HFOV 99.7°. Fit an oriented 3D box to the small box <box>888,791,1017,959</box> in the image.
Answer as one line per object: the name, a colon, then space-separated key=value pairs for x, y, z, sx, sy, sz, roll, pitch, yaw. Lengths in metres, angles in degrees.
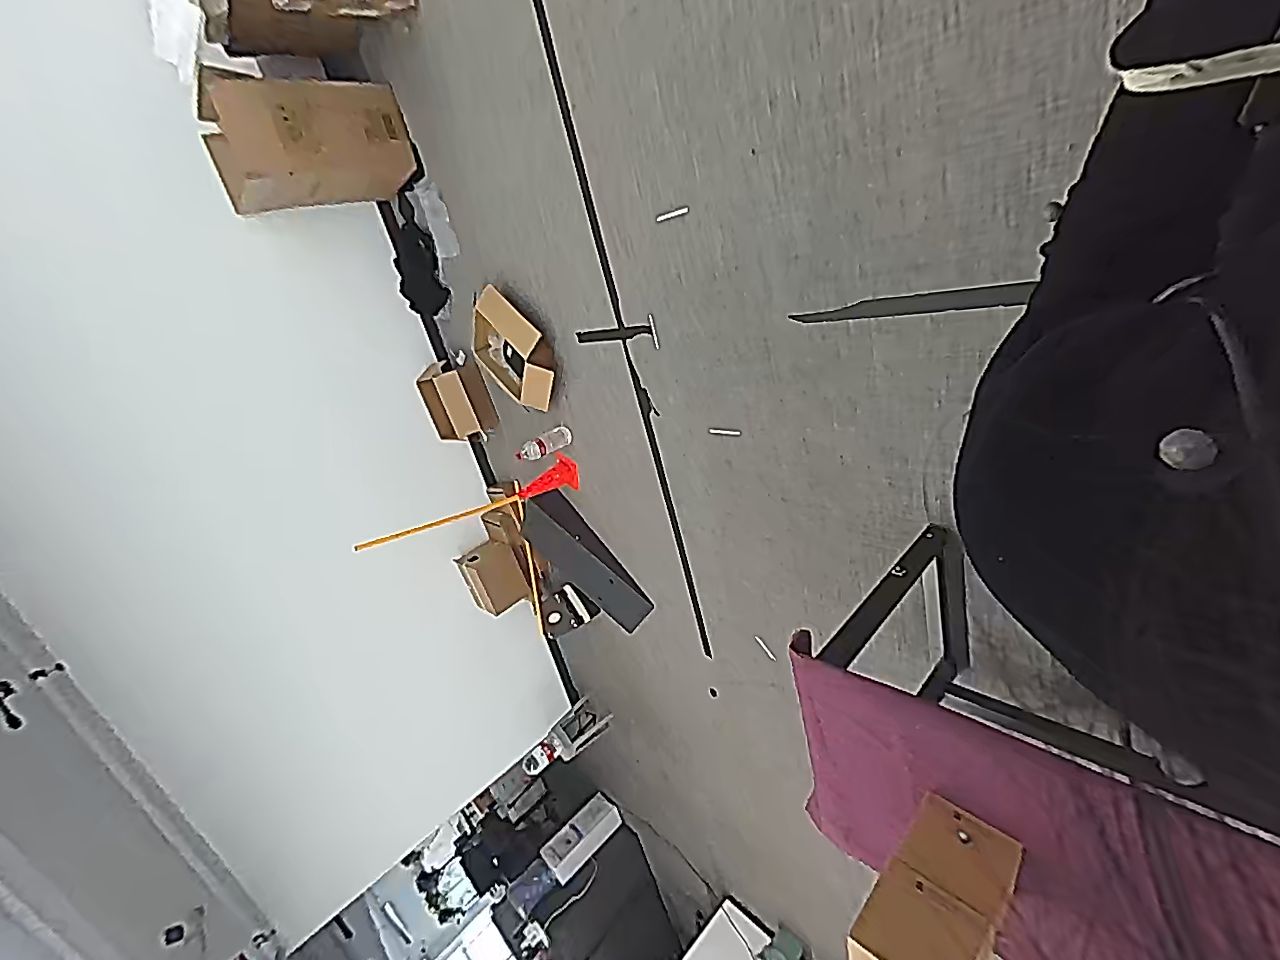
small box: x=0.595 y=0.751 z=1.032 sx=0.168 sy=0.176 sz=0.179 roll=17 pitch=128 yaw=44
